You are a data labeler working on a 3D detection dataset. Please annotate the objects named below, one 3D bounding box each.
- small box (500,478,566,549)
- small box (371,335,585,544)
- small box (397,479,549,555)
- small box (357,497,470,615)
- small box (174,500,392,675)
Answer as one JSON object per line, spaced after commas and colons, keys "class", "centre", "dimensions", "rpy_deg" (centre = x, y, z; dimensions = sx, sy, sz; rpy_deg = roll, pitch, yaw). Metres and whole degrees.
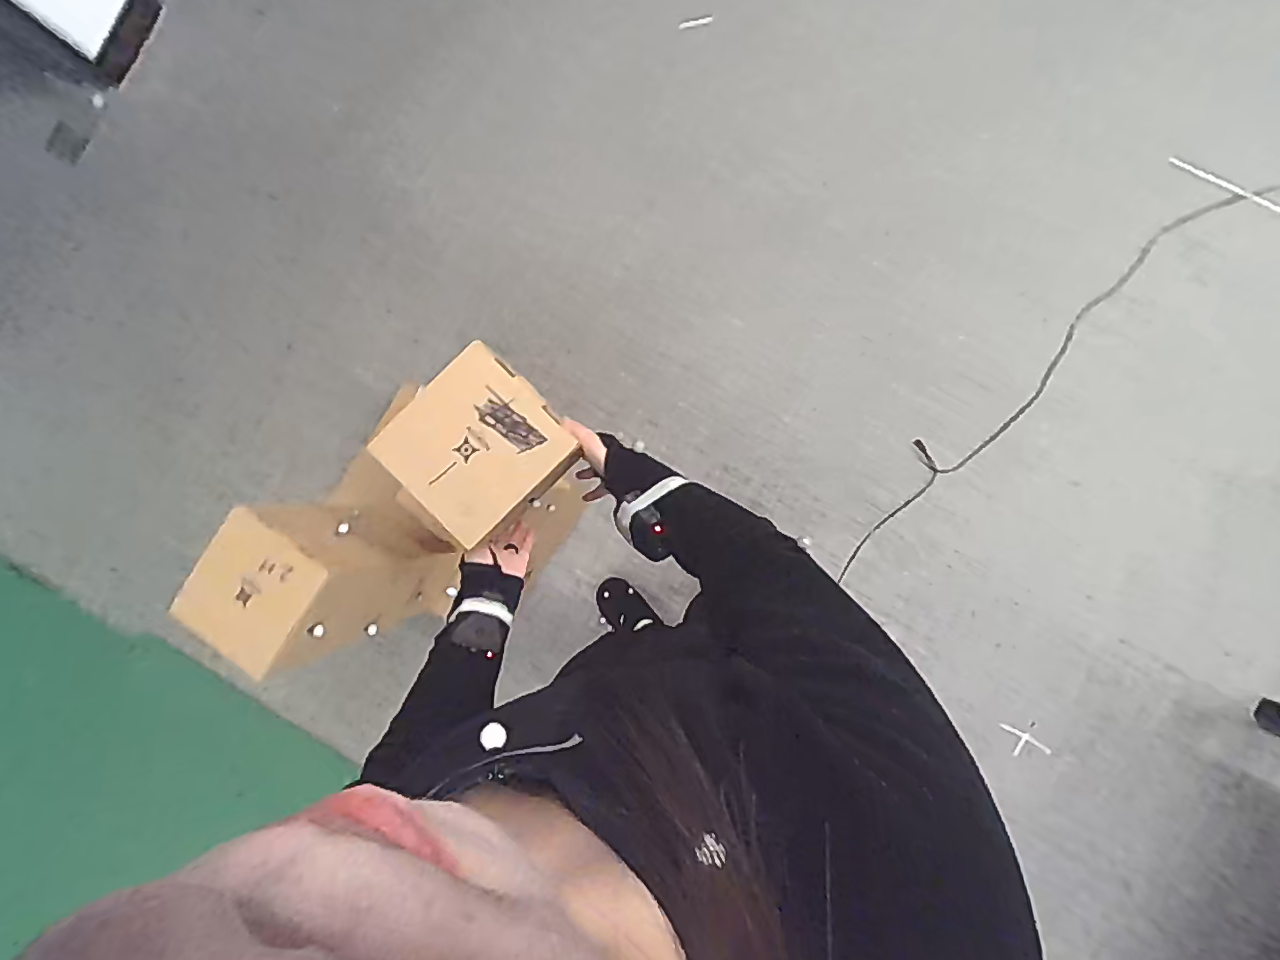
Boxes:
{"class": "small box", "centre": [-0.276, 0.022, 1.112], "dimensions": [0.179, 0.176, 0.168], "rpy_deg": [36, 89, 7]}
{"class": "small box", "centre": [-0.183, -0.048, 0.676], "dimensions": [0.179, 0.176, 0.168], "rpy_deg": [-44, 92, 1]}
{"class": "small box", "centre": [-0.276, 0.008, 0.950], "dimensions": [0.168, 0.176, 0.179], "rpy_deg": [37, 90, 6]}
{"class": "small box", "centre": [-0.486, 0.152, 1.125], "dimensions": [0.179, 0.176, 0.168], "rpy_deg": [36, 92, 7]}
{"class": "small box", "centre": [-0.507, 0.145, 0.795], "dimensions": [0.168, 0.176, 0.179], "rpy_deg": [34, 92, 6]}
